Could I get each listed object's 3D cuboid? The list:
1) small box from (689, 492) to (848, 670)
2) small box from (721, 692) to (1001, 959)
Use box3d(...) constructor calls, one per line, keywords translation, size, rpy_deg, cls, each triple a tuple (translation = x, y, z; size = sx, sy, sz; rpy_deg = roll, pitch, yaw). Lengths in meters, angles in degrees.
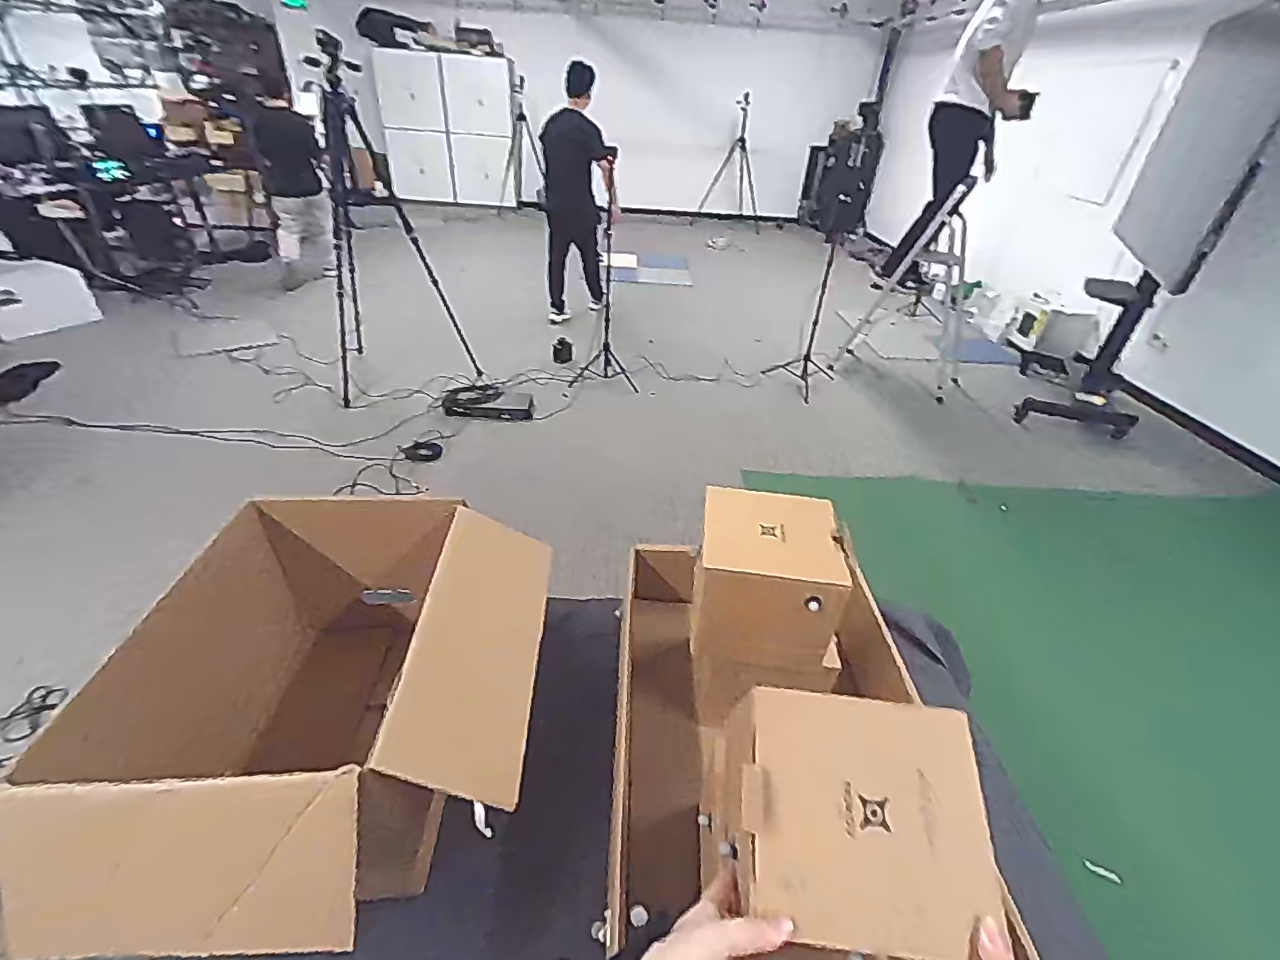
box3d(translation=(0.164, 0.139, 0.745), size=(0.179, 0.176, 0.168), rpy_deg=(7, 36, 4), cls="small box")
box3d(translation=(0.170, 0.299, 0.481), size=(0.179, 0.176, 0.168), rpy_deg=(6, 59, 2), cls="small box")
